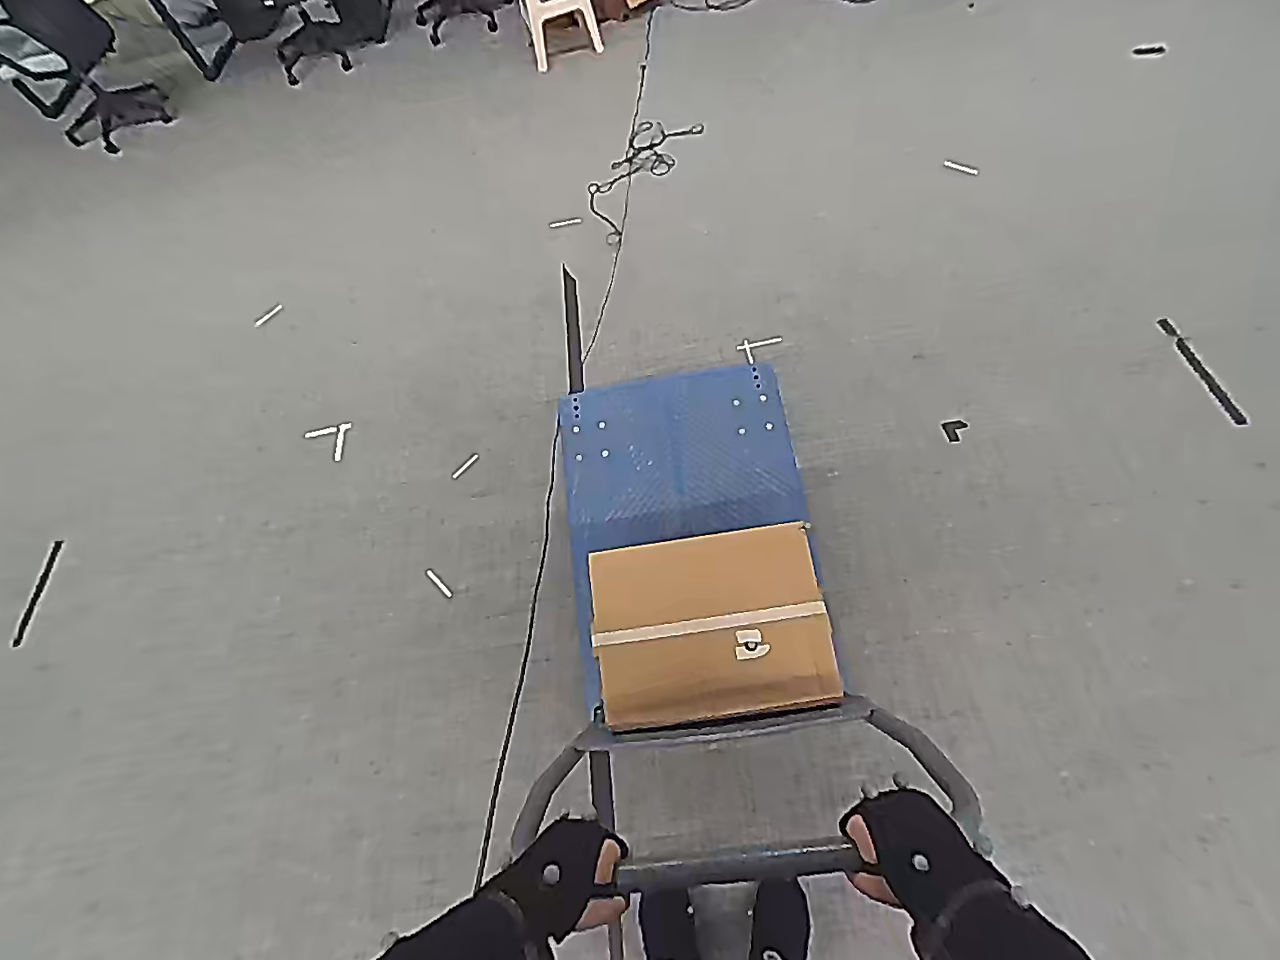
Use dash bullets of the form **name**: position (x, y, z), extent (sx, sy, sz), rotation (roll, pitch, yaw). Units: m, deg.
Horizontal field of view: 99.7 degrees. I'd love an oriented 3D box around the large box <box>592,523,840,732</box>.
- **large box**: position (0.138, 0.304, 1.112), extent (0.408, 0.320, 0.320), rotation (-10, 72, 3)
